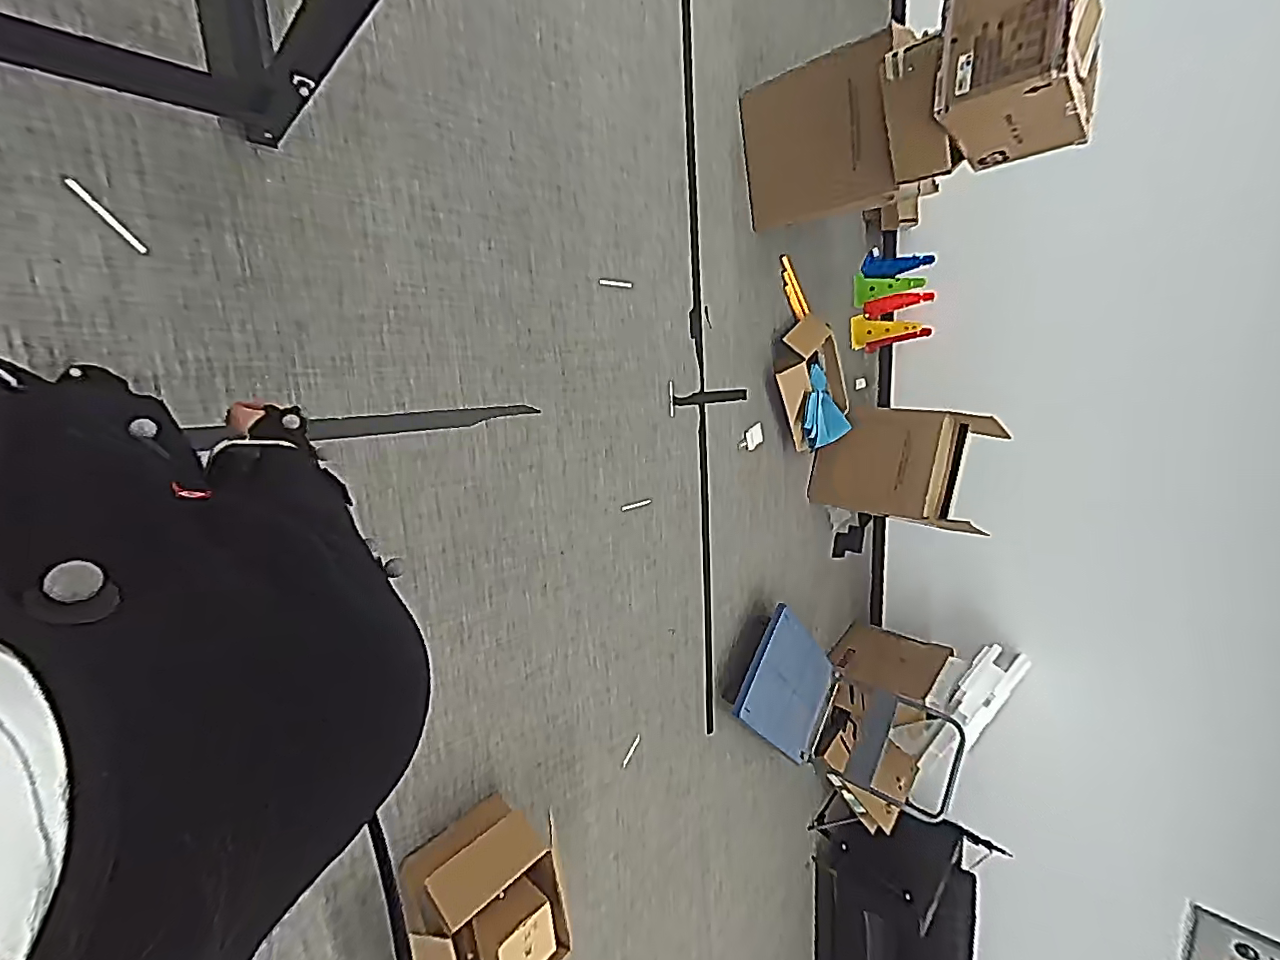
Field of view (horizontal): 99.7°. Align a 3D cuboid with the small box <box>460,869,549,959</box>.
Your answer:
[{"bbox_3d":[-0.375,1.237,1.492,0.168,0.176,0.179,-17,107,-45],"label":"small box"}]
